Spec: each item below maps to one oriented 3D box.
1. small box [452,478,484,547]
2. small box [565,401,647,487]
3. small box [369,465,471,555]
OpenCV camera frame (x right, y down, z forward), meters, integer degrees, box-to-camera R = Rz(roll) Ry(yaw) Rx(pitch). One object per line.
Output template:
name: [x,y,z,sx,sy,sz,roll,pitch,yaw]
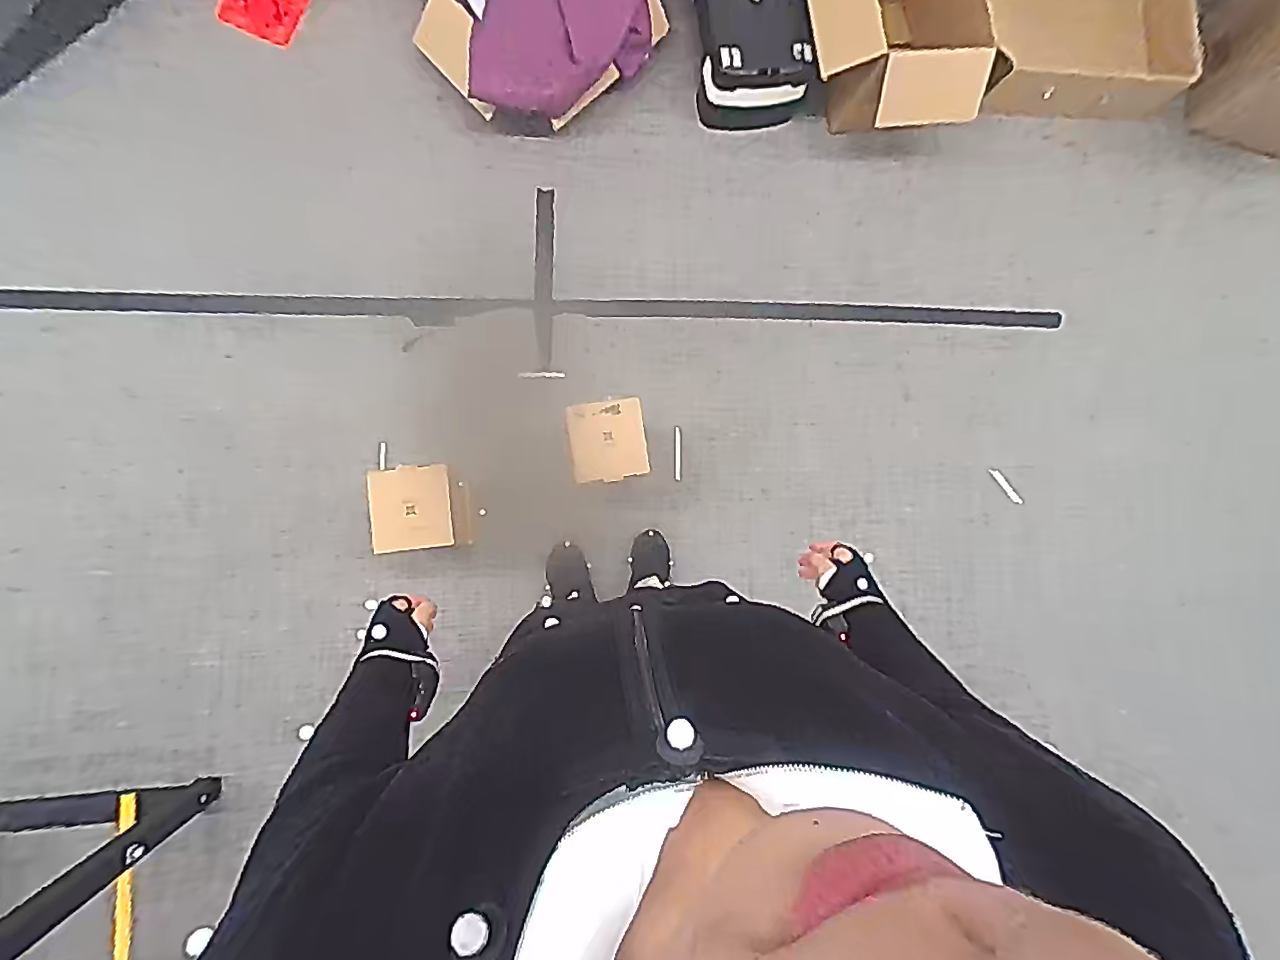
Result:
small box: [-0.504,0.087,1.374,0.179,0.176,0.168,-4,87,-7]
small box: [-0.081,-0.079,1.269,0.168,0.176,0.179,-8,88,-7]
small box: [-0.486,0.066,1.213,0.168,0.176,0.179,-7,89,-5]
